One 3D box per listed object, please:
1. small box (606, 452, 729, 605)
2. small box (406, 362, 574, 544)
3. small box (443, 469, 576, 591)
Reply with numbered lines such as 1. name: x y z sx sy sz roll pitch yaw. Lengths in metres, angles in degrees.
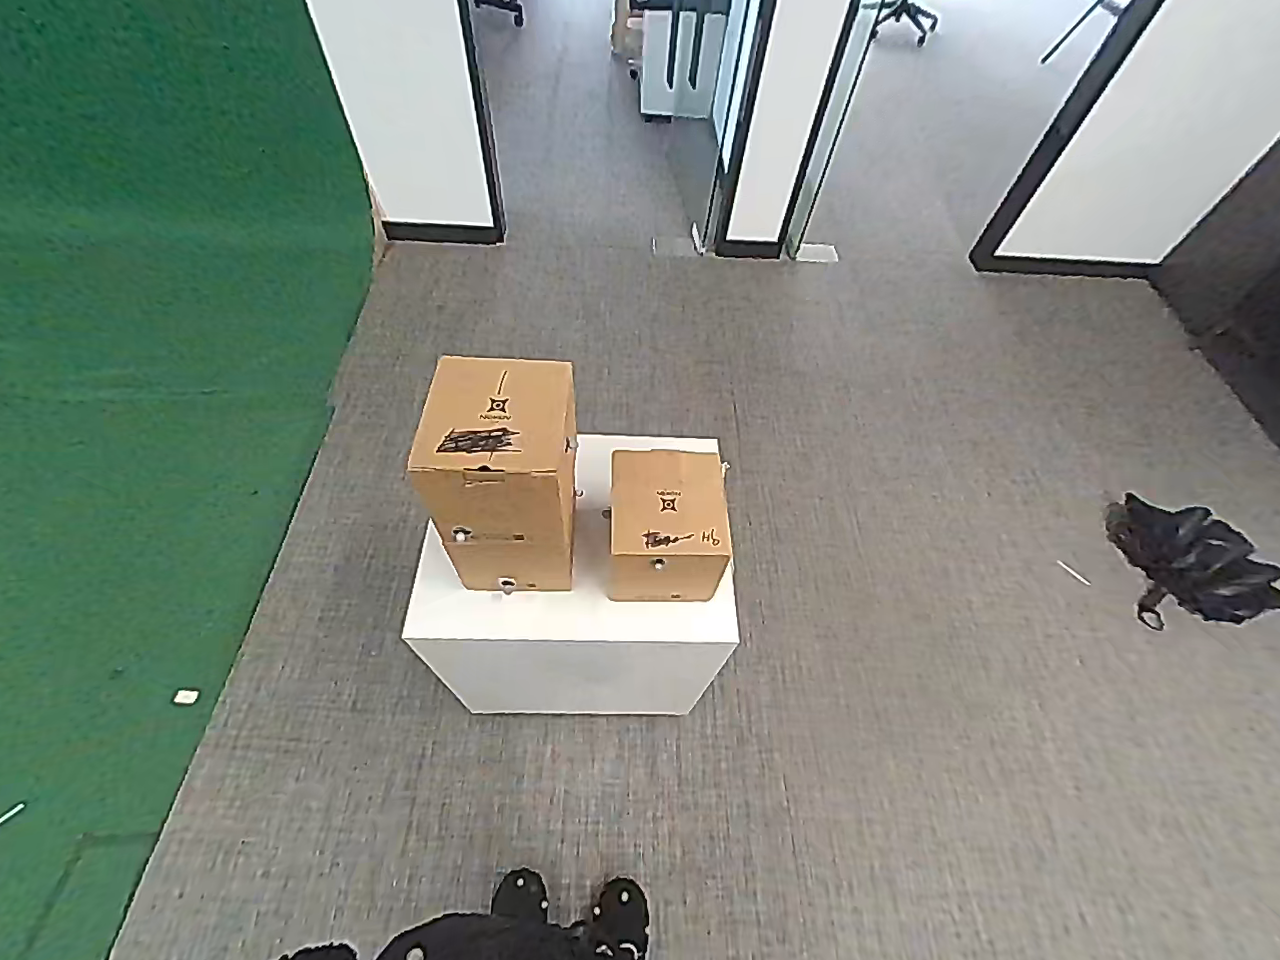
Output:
1. small box: 0.033 0.077 0.838 0.168 0.176 0.179 1 55 -3
2. small box: -0.175 -0.029 0.699 0.168 0.176 0.179 2 54 -2
3. small box: -0.185 0.055 0.821 0.168 0.176 0.179 -1 57 -4
